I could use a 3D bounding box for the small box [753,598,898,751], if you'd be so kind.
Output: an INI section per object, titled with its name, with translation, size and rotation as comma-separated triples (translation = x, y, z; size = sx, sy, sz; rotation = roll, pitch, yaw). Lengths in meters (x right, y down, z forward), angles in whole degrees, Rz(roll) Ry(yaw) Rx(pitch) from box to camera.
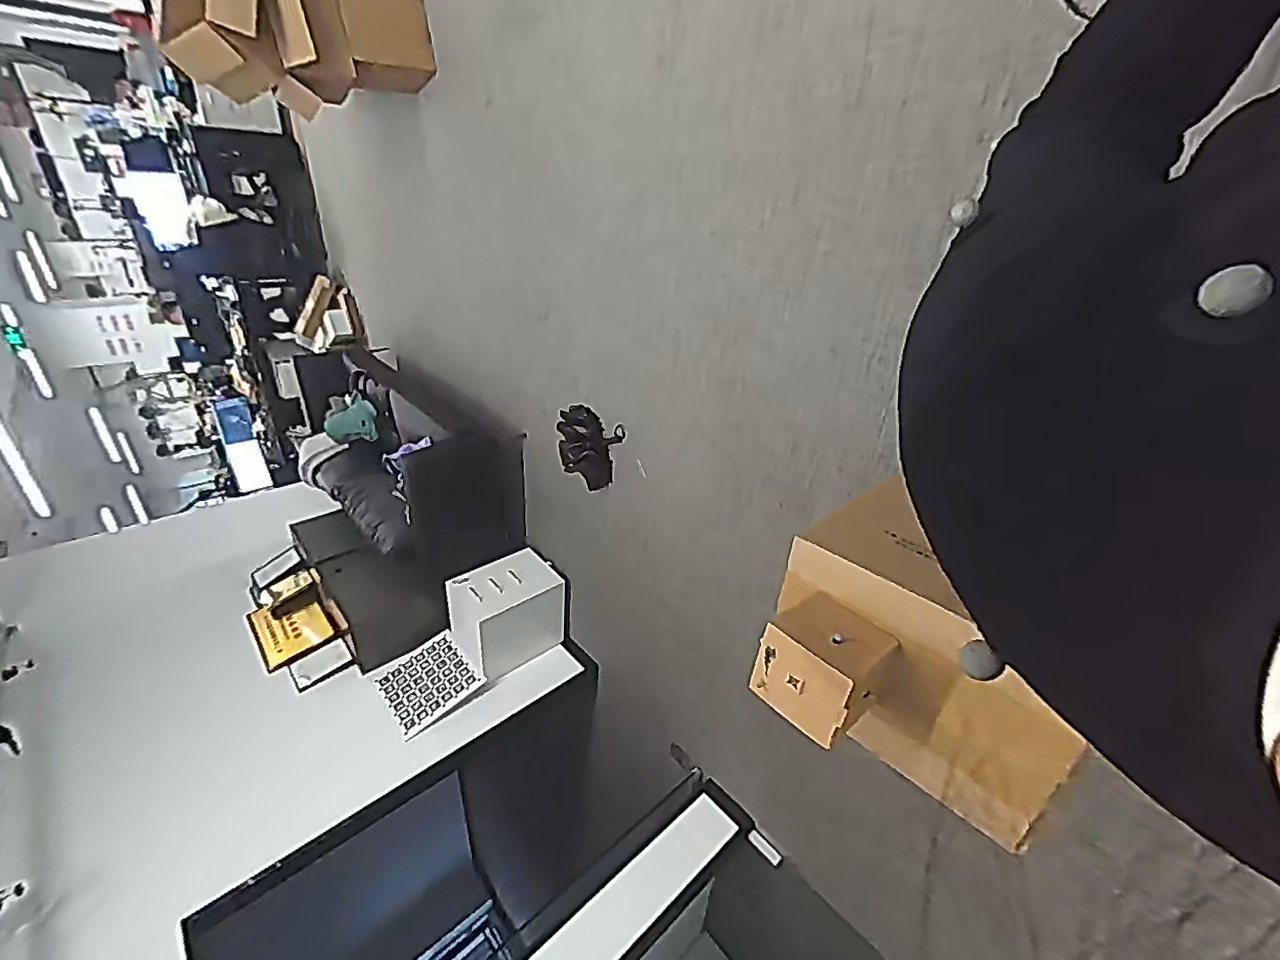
[small box]
translation = 0.343, 0.345, 0.998
size = 0.179, 0.176, 0.168
rotation = 30, 123, 38
